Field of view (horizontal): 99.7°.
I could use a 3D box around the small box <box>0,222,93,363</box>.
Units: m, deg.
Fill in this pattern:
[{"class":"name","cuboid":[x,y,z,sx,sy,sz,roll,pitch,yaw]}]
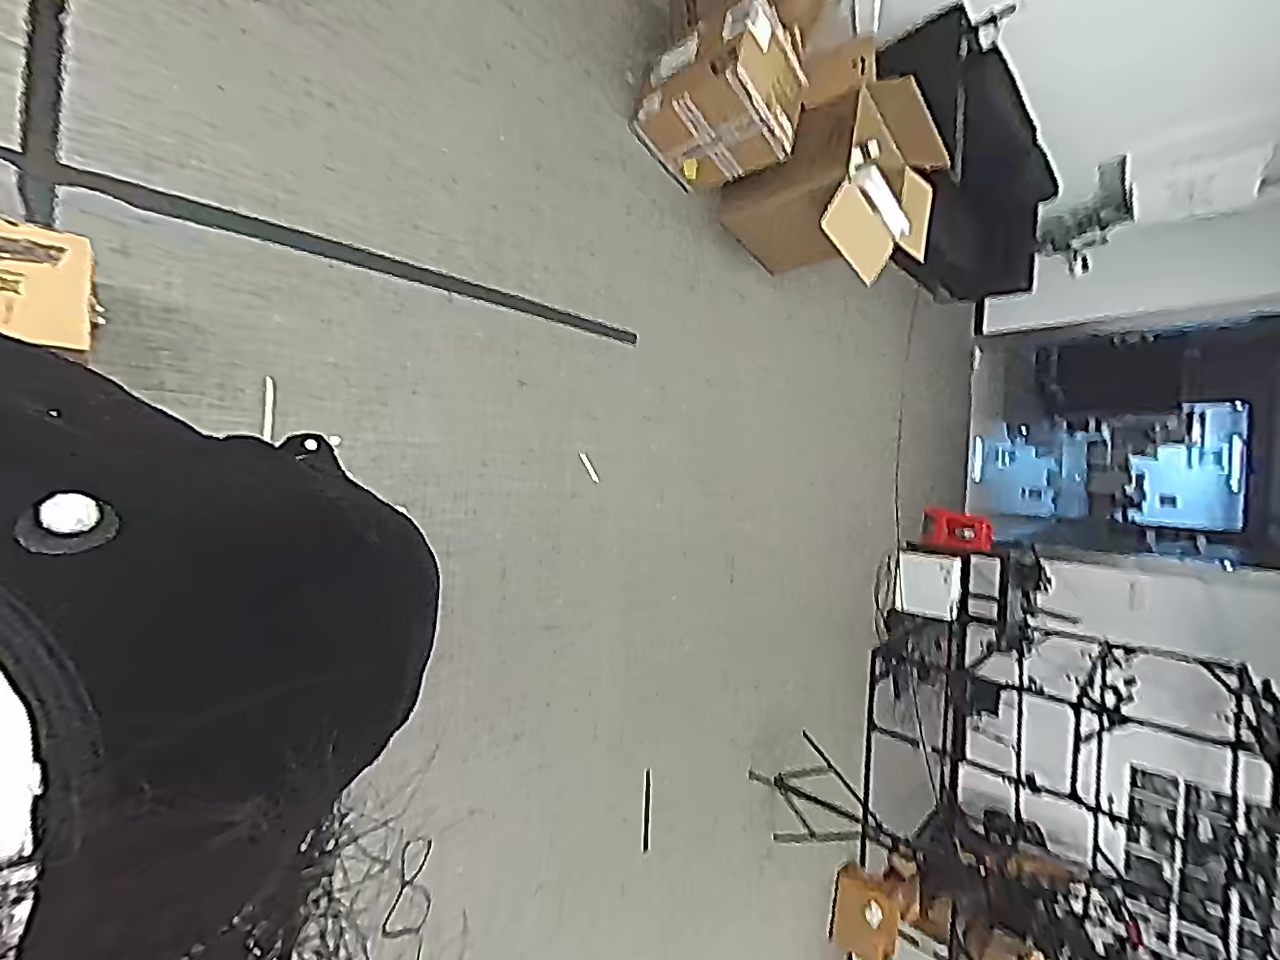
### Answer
[{"class":"small box","cuboid":[-0.976,-0.289,0.841,0.168,0.176,0.179,3,92,-46]}]
